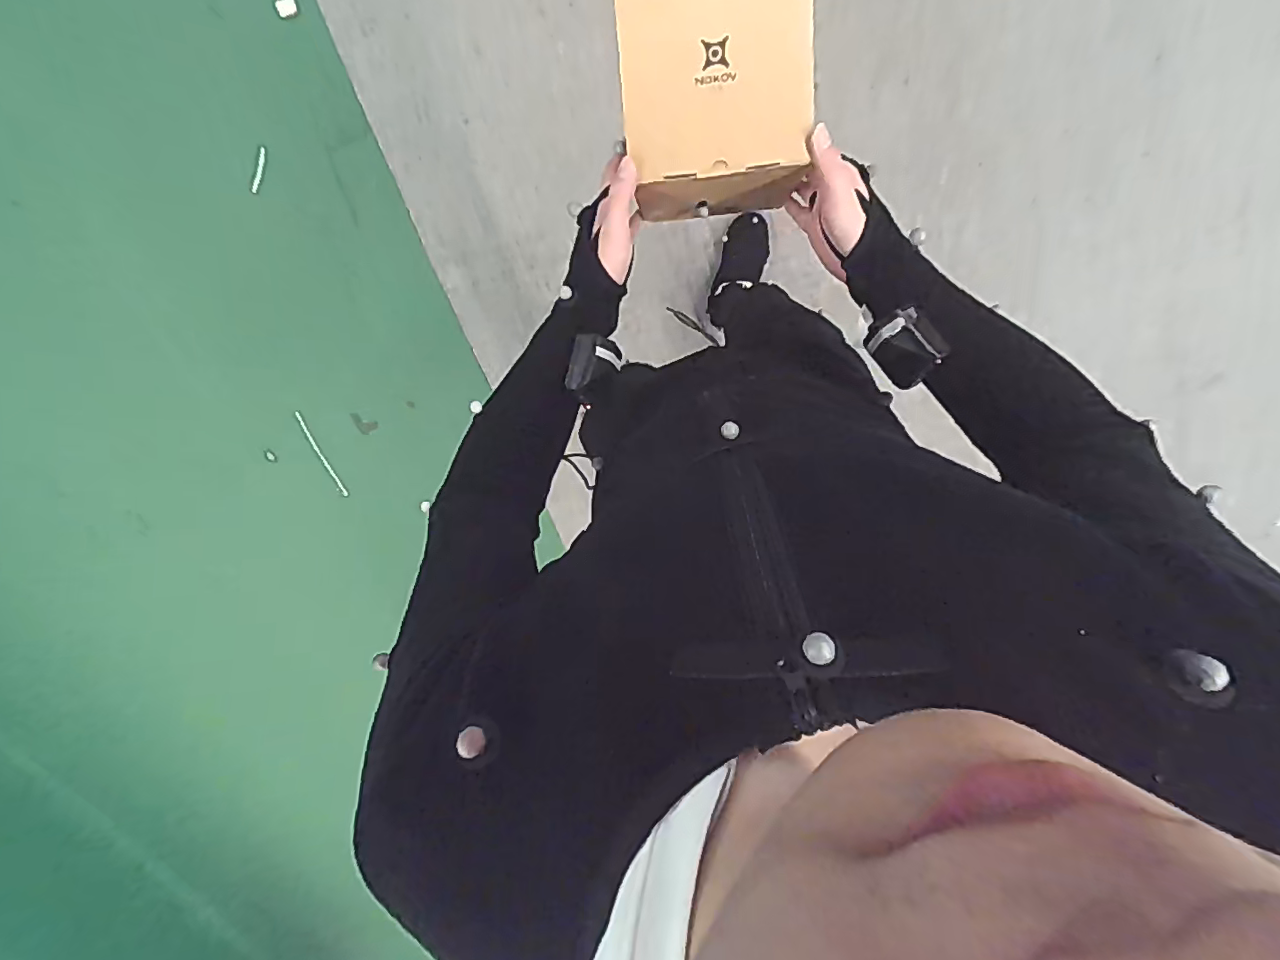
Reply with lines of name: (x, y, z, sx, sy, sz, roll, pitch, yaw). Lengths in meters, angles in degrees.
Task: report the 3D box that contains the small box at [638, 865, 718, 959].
small box: (0.101, 1.115, 1.369, 0.168, 0.176, 0.179, -14, 115, 10)
